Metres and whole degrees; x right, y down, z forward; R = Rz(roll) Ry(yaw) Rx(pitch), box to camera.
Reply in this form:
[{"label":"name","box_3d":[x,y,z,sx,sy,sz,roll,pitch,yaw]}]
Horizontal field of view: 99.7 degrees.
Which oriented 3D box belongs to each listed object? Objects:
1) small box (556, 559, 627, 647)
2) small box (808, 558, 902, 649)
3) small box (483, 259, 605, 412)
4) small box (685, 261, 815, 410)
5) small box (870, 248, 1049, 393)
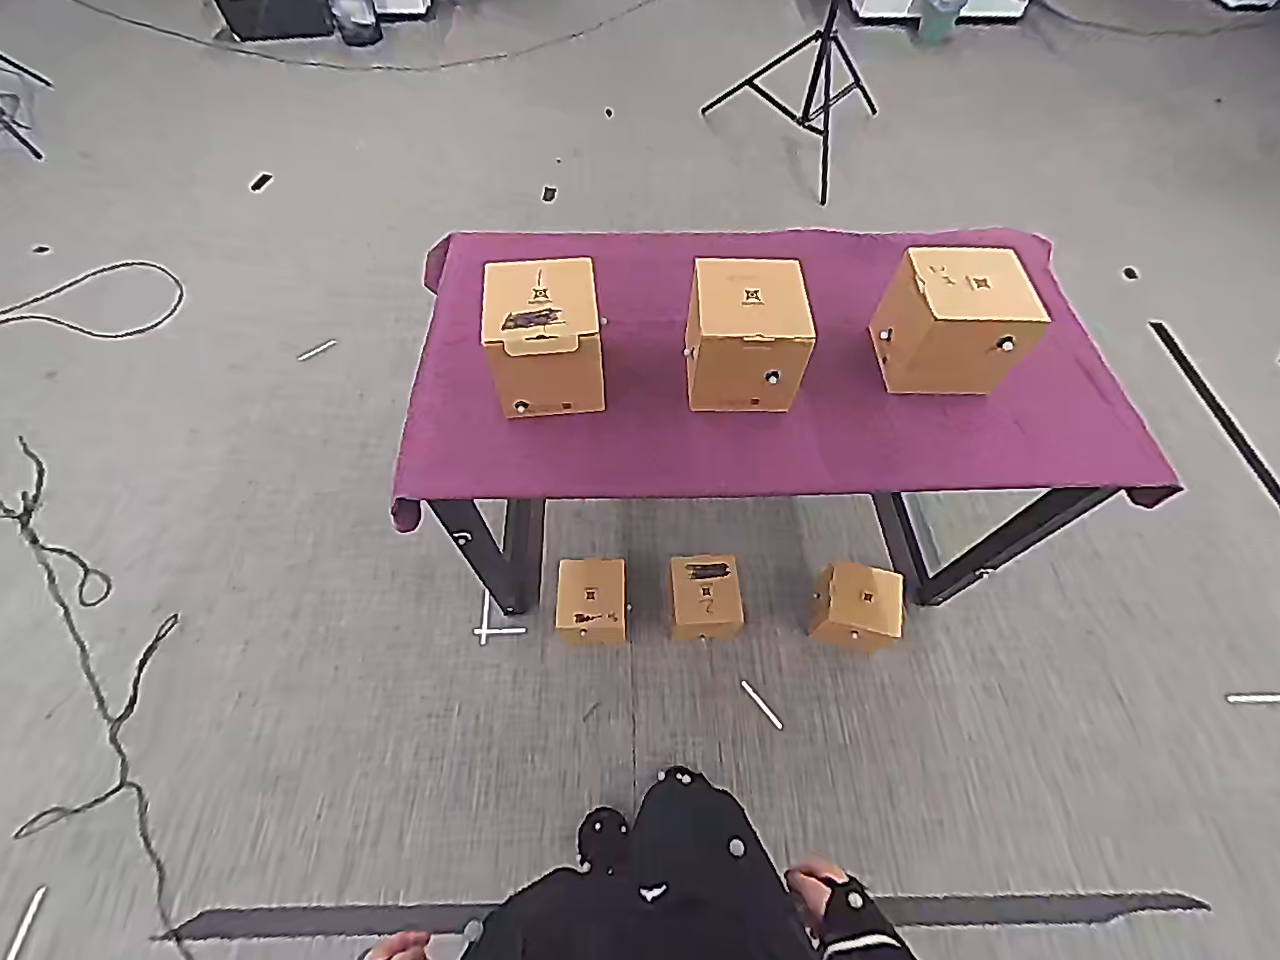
[{"label":"small box","box_3d":[-0.119,0.318,1.393,0.168,0.176,0.179,1,58,-1]},{"label":"small box","box_3d":[0.554,0.326,1.403,0.179,0.176,0.168,13,61,8]},{"label":"small box","box_3d":[-0.146,-0.221,0.860,0.168,0.176,0.179,-5,58,-5]},{"label":"small box","box_3d":[0.165,-0.228,0.874,0.168,0.176,0.179,1,58,-2]},{"label":"small box","box_3d":[0.512,-0.258,0.896,0.179,0.176,0.168,0,59,0]}]
